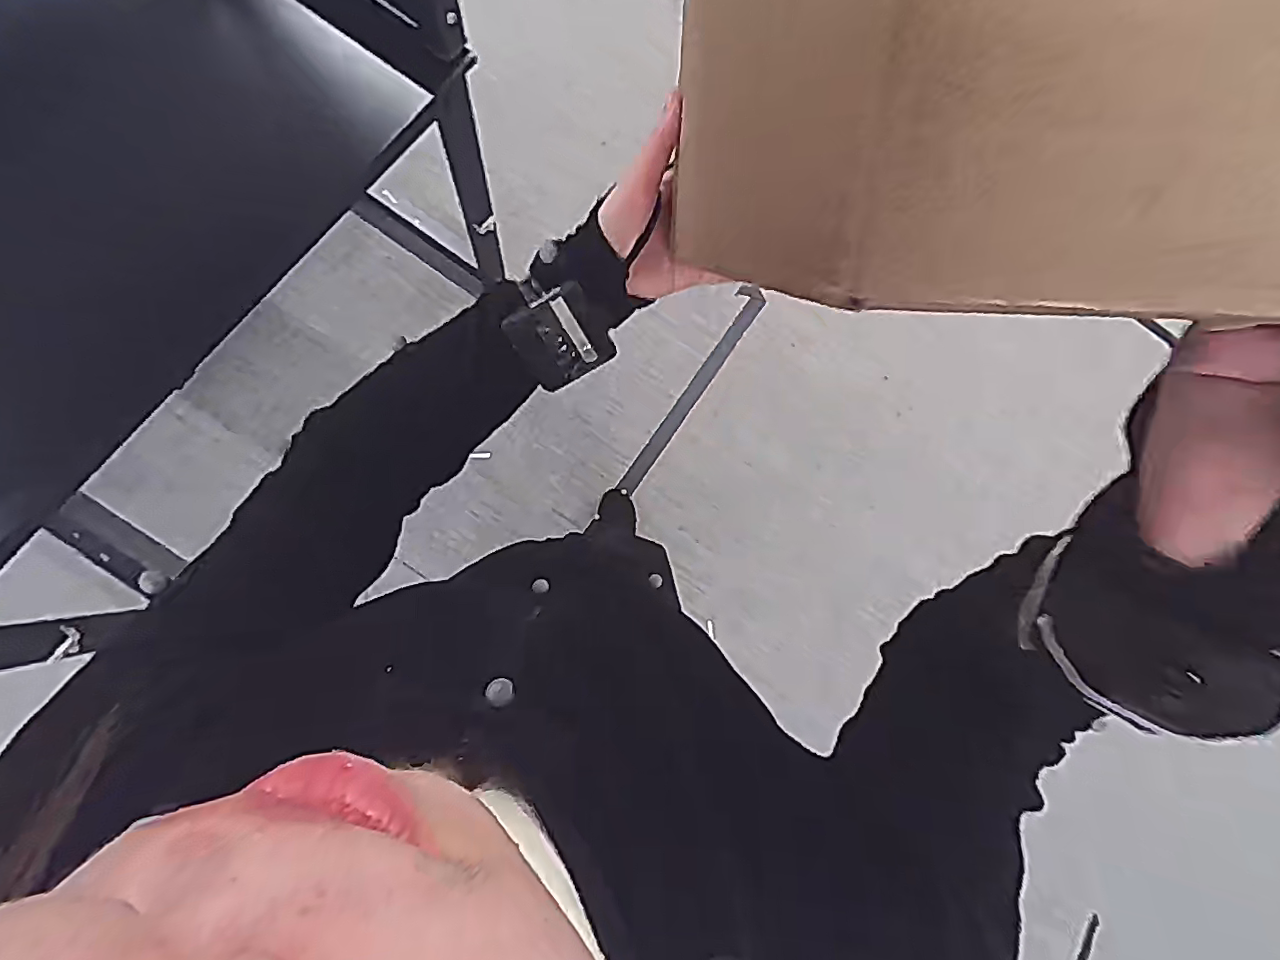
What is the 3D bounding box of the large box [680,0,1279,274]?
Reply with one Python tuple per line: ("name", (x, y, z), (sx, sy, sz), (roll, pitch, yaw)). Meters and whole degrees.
("large box", (0.184, -0.283, 0.164), (0.320, 0.320, 0.408), (0, 114, -4))
